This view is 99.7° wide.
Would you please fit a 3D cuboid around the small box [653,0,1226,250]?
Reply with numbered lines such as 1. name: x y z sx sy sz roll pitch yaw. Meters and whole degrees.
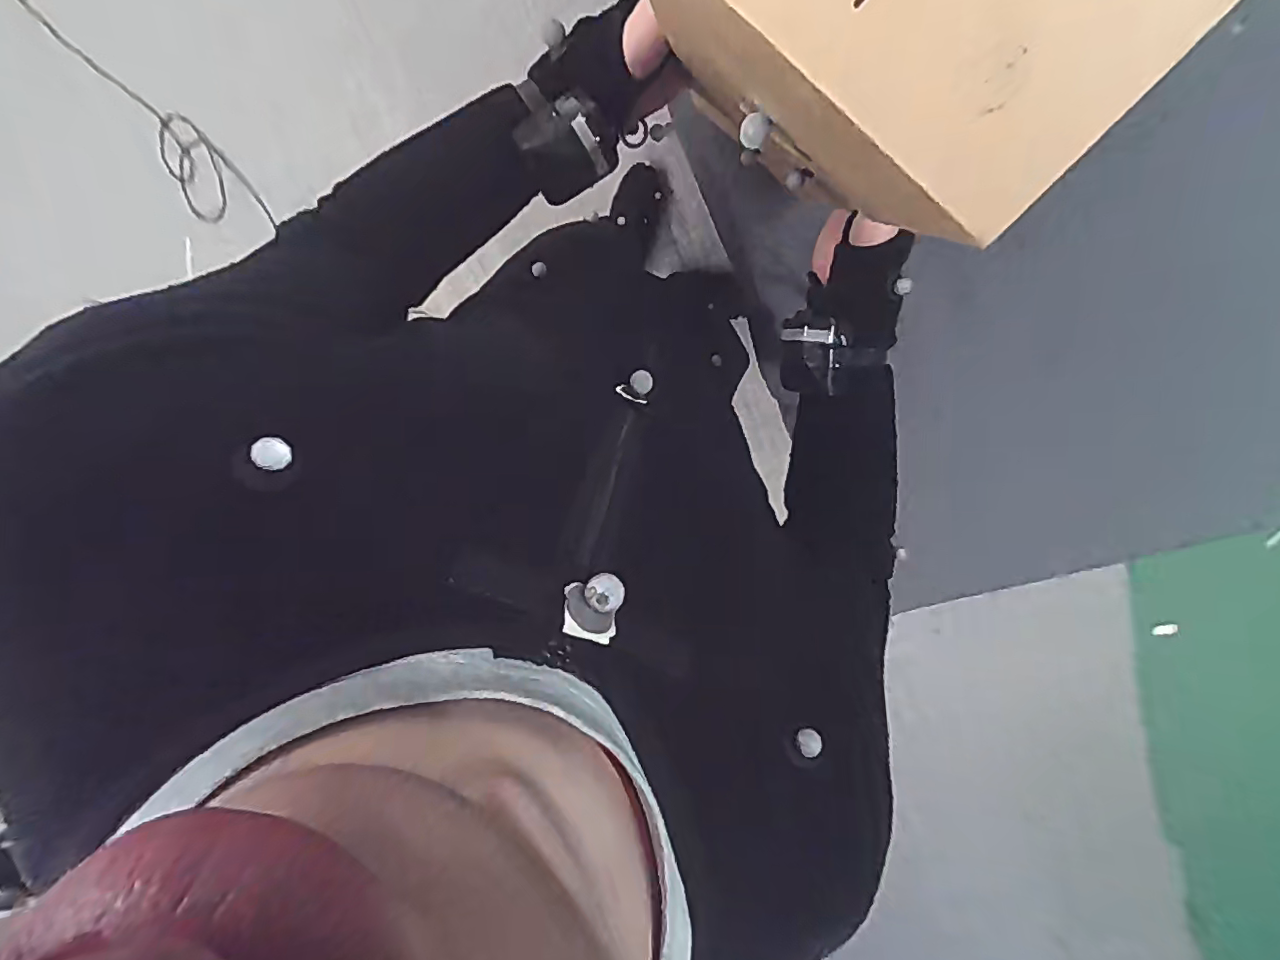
1. small box: 0.109 -0.220 0.199 0.168 0.176 0.179 36 119 -11

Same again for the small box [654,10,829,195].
1. small box: 0.132 -0.303 0.339 0.168 0.176 0.179 34 117 -10
